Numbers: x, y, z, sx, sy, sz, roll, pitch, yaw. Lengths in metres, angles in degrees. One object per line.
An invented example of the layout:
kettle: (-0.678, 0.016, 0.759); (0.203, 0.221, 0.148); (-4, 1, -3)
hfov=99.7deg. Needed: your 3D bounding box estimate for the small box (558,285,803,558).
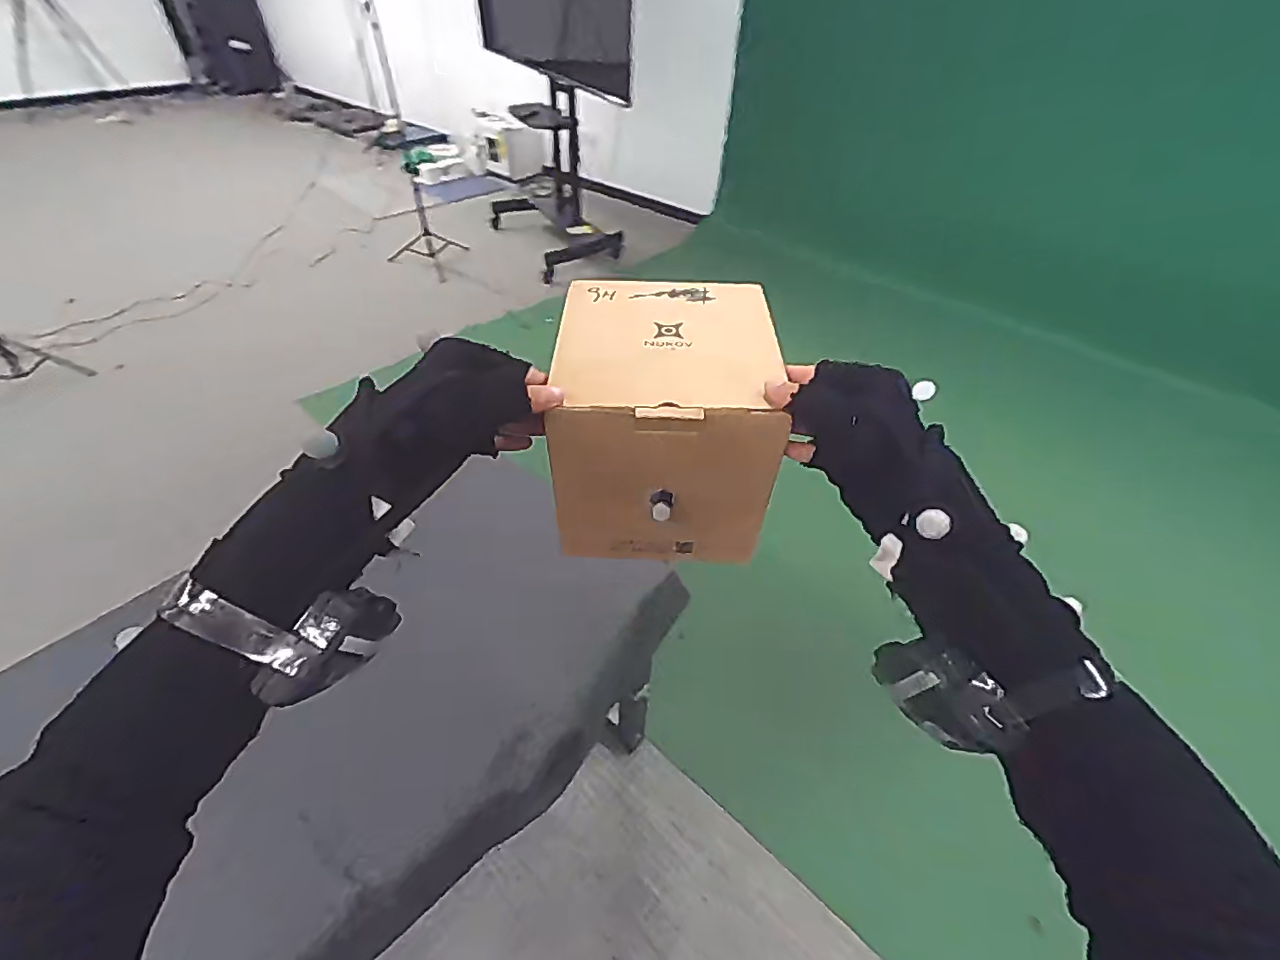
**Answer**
small box: (0.030, -0.048, 0.469); (0.168, 0.176, 0.179); (2, 47, 1)
